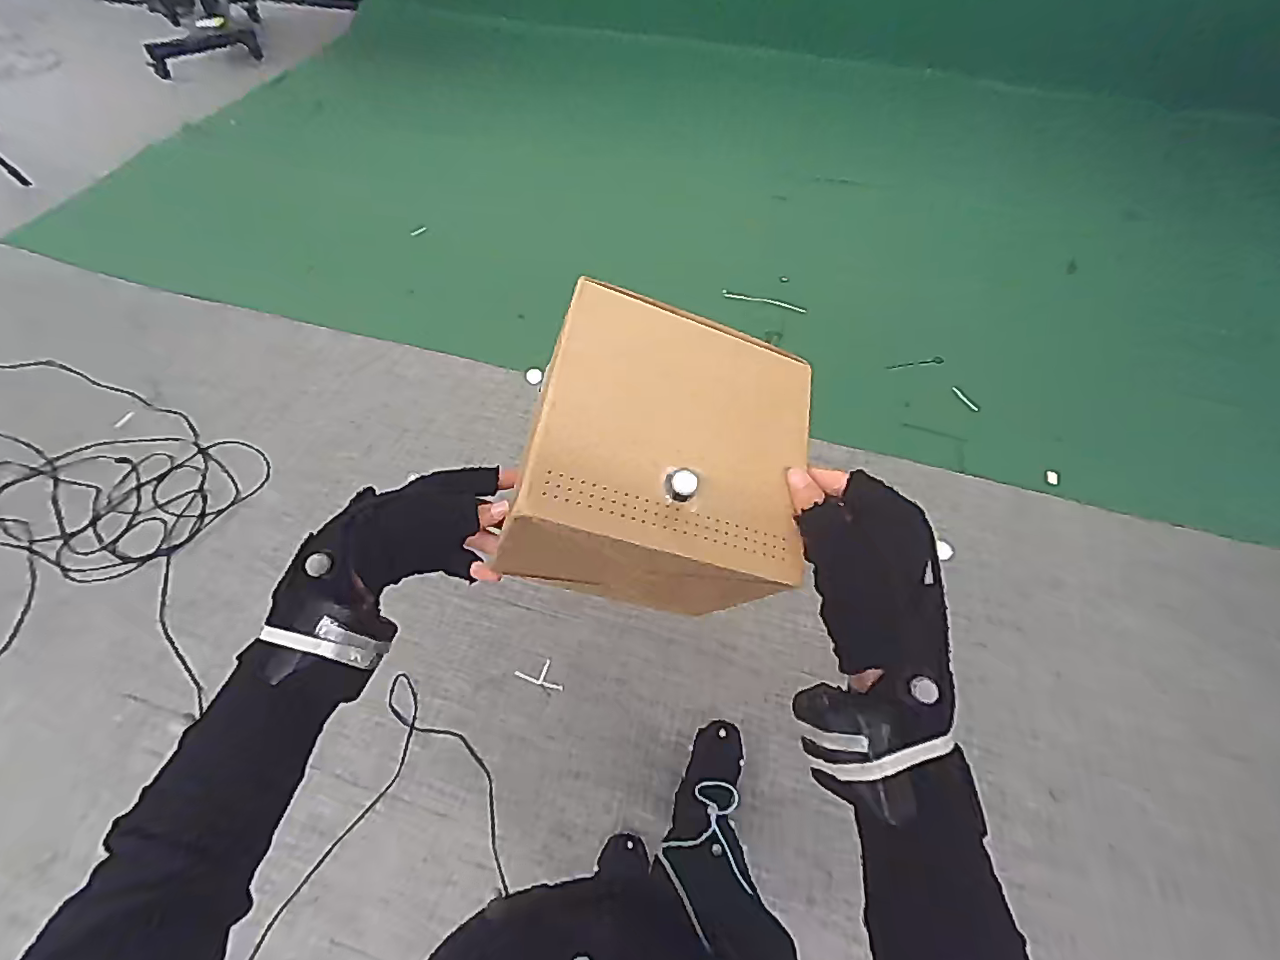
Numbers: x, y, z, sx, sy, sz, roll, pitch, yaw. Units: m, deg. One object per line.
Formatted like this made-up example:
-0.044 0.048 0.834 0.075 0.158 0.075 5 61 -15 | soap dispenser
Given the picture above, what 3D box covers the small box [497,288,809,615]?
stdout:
0.005 -0.003 0.415 0.179 0.168 0.176 17 63 -14 | small box
